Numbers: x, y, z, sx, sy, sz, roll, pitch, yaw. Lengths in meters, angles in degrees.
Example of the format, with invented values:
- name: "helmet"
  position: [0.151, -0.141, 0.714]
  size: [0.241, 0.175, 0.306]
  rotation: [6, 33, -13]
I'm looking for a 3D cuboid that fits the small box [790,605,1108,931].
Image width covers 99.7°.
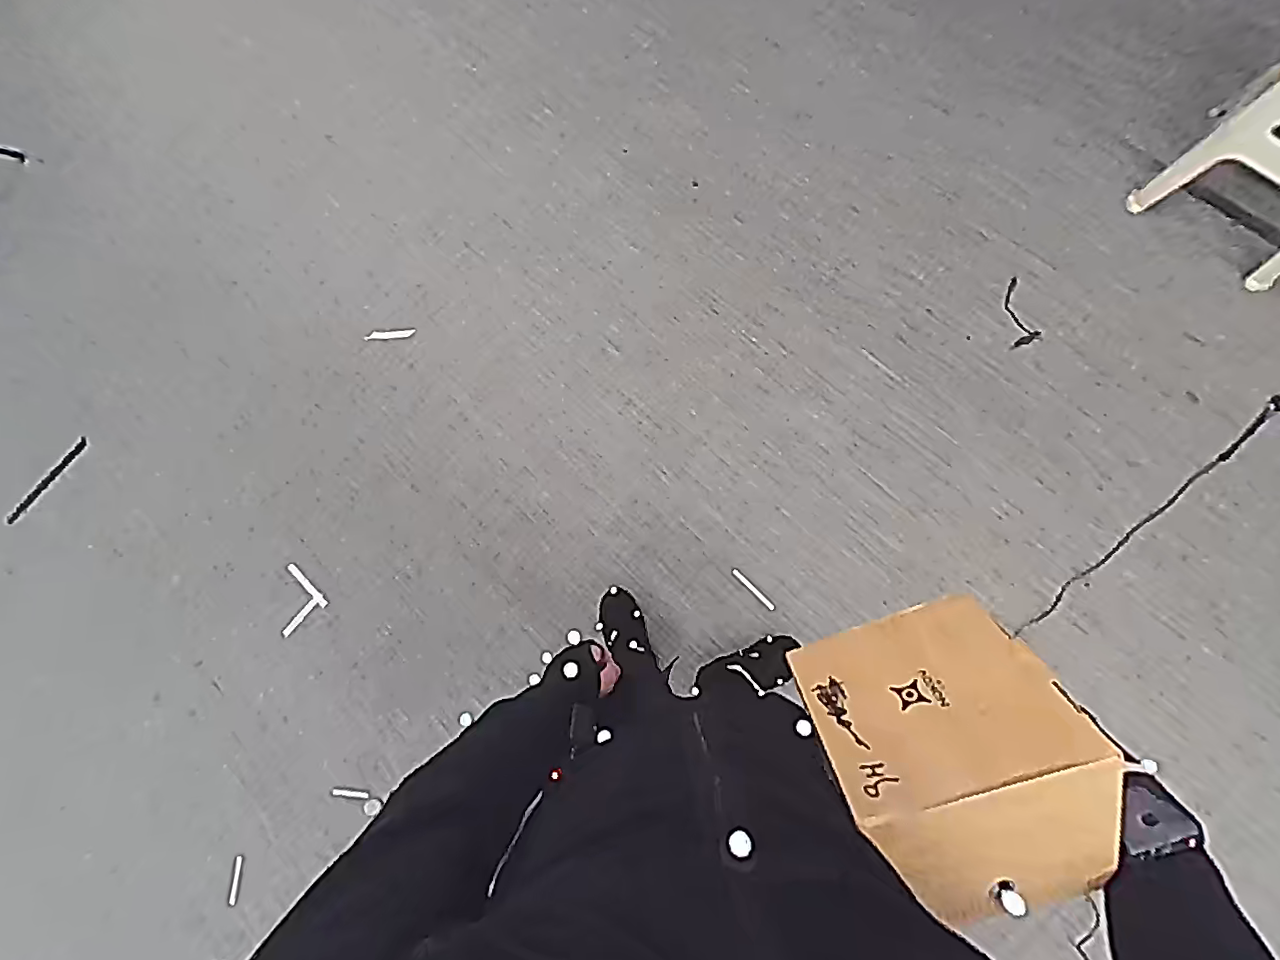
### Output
- name: "small box"
  position: [0.256, 0.247, 0.476]
  size: [0.179, 0.168, 0.176]
  rotation: [-21, 115, 6]
